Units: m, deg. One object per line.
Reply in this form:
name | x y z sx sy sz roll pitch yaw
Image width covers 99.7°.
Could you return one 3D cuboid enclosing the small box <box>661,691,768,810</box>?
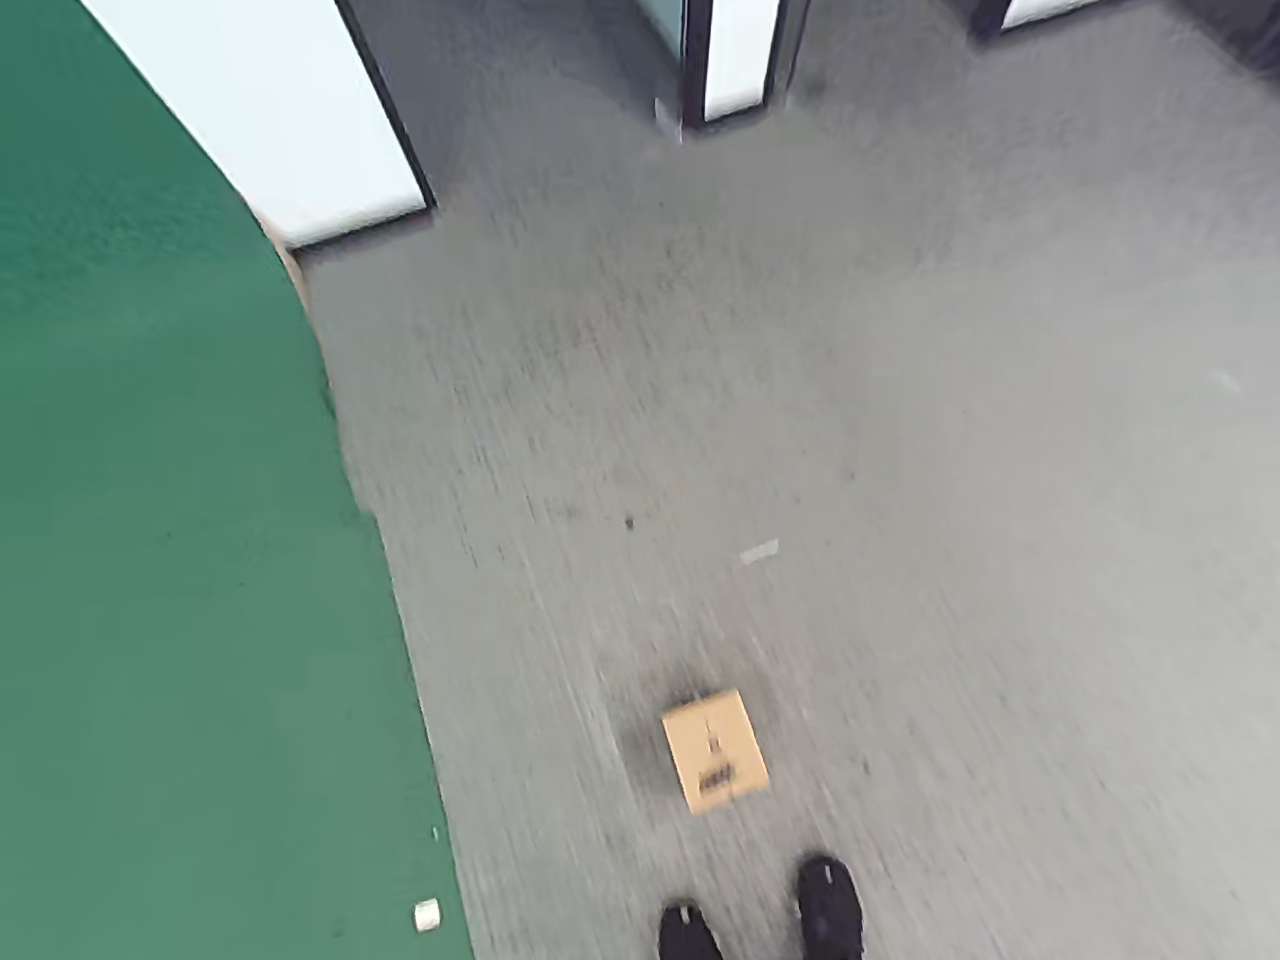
small box | 0.147 0.551 1.123 0.168 0.176 0.179 -16 67 -5
